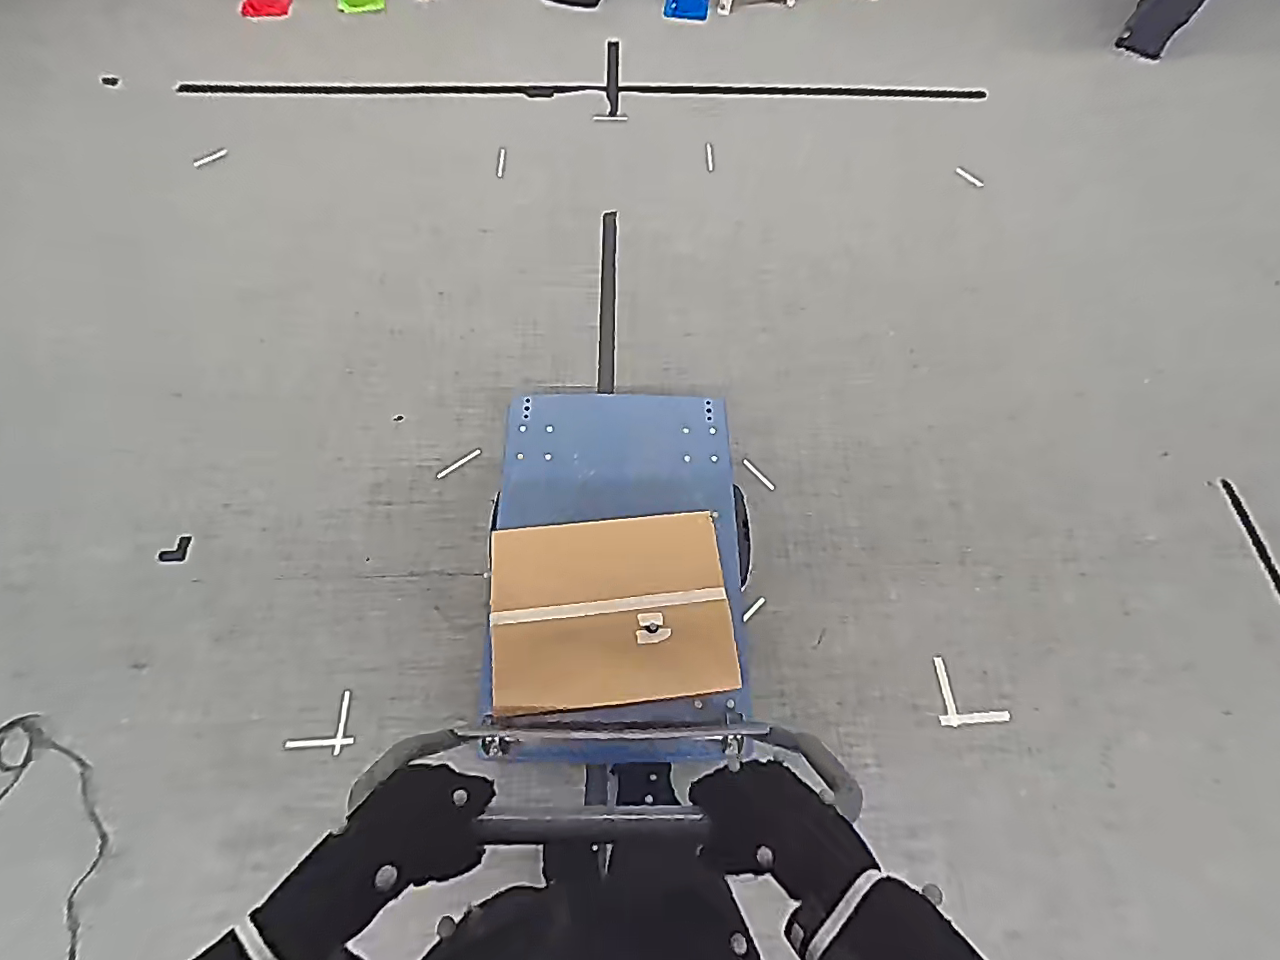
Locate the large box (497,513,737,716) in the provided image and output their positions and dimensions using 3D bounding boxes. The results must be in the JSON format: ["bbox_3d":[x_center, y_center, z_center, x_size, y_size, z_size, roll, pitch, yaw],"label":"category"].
[{"bbox_3d":[-0.057,0.280,1.085,0.408,0.320,0.320,-5,67,-5],"label":"large box"}]
